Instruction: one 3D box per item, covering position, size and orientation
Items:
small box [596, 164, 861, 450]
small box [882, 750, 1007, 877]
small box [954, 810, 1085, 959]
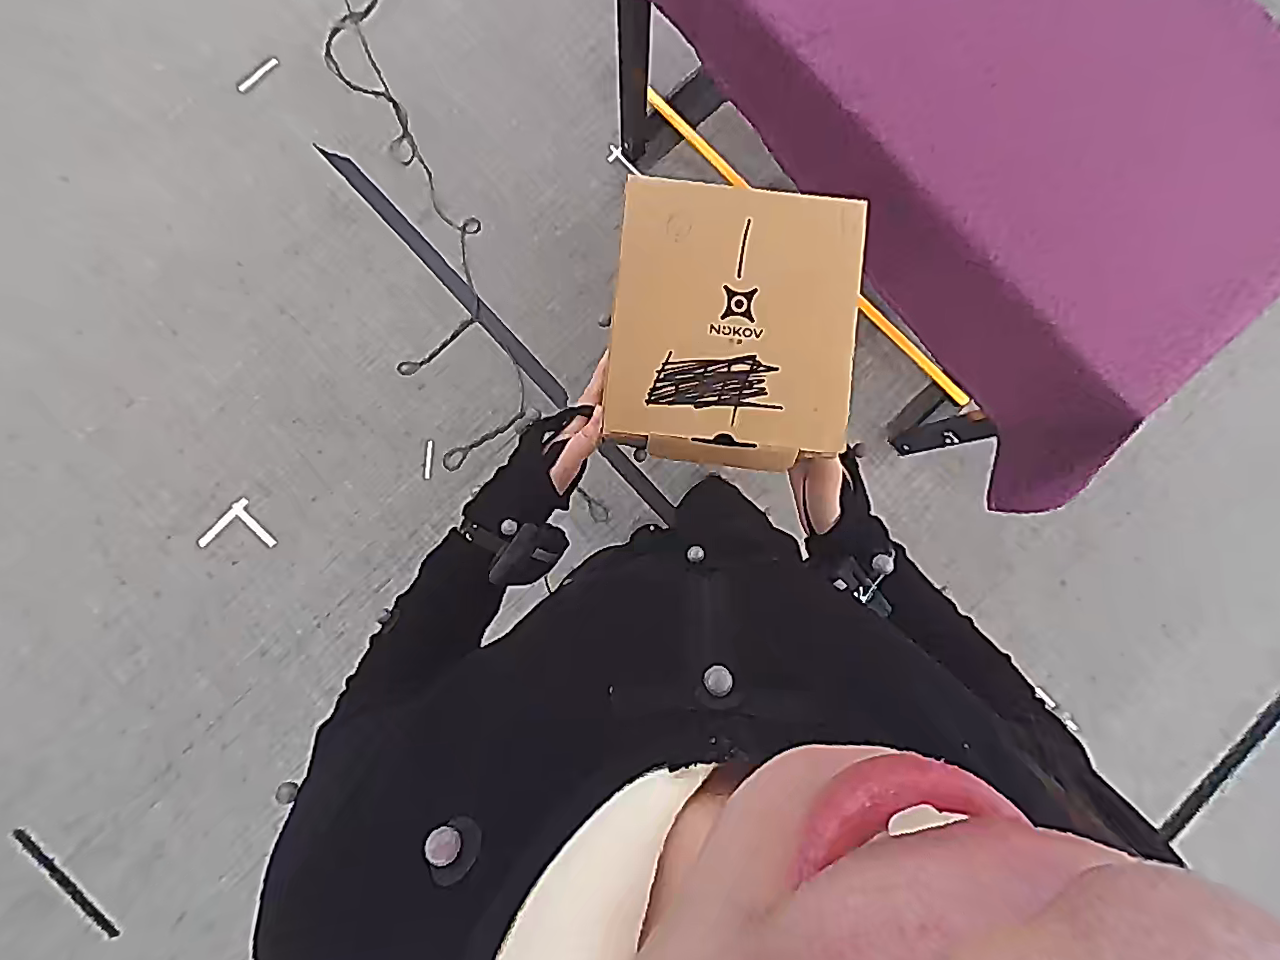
[{"bbox_3d":[0.058,-0.119,0.444,0.168,0.176,0.179,5,91,-2],"label":"small box"},{"bbox_3d":[0.682,0.754,1.224,0.168,0.176,0.179,25,90,3],"label":"small box"},{"bbox_3d":[0.670,0.702,0.897,0.168,0.176,0.179,39,90,5],"label":"small box"}]
